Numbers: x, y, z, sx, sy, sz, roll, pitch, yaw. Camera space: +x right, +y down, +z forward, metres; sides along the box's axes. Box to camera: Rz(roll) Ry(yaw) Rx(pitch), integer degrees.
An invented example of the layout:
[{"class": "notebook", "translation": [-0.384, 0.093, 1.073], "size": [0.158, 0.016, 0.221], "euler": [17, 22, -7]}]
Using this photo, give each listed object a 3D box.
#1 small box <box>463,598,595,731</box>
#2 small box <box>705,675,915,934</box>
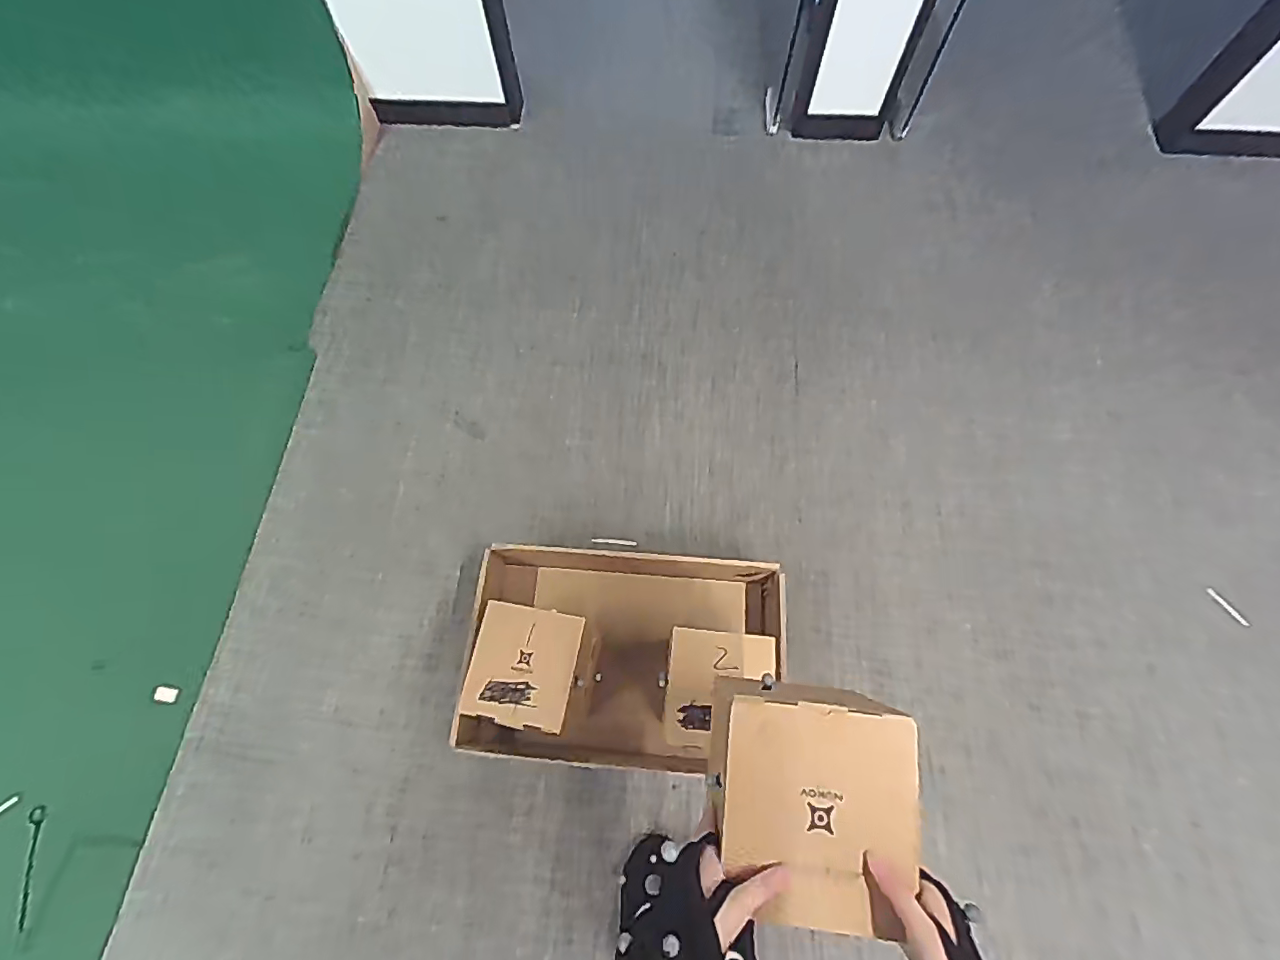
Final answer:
[{"class": "small box", "translation": [-0.177, 0.317, 0.927], "size": [0.168, 0.176, 0.179], "euler": [10, 68, 4]}, {"class": "small box", "translation": [0.158, 0.303, 0.550], "size": [0.168, 0.176, 0.179], "euler": [6, 77, 4]}]
